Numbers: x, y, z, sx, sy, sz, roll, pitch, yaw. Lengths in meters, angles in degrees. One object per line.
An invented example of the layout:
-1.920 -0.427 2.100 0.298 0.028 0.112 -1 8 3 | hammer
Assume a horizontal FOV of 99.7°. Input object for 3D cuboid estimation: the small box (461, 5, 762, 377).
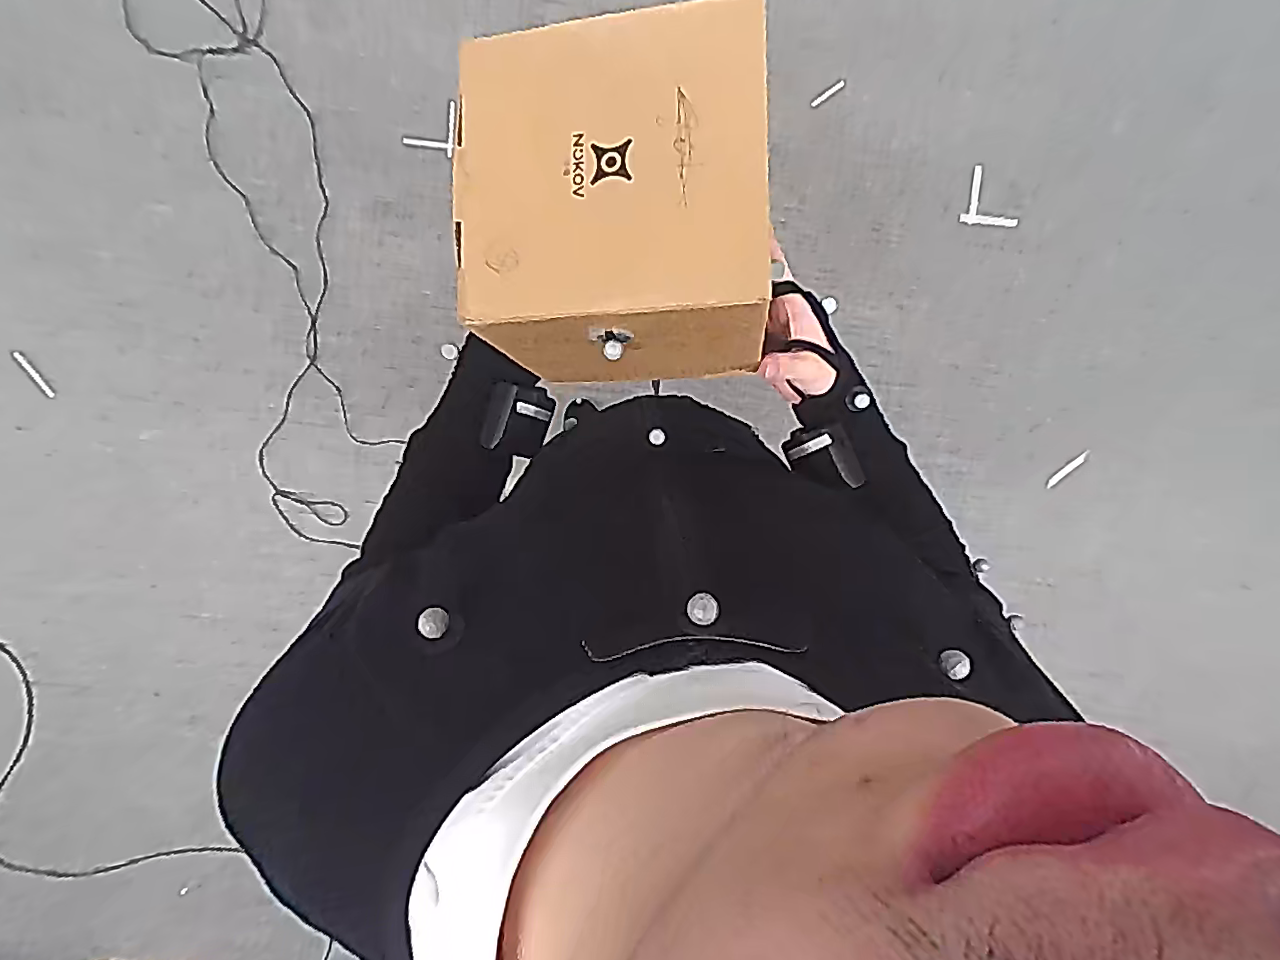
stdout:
-0.006 -0.173 0.383 0.179 0.176 0.168 -1 88 10 | small box
